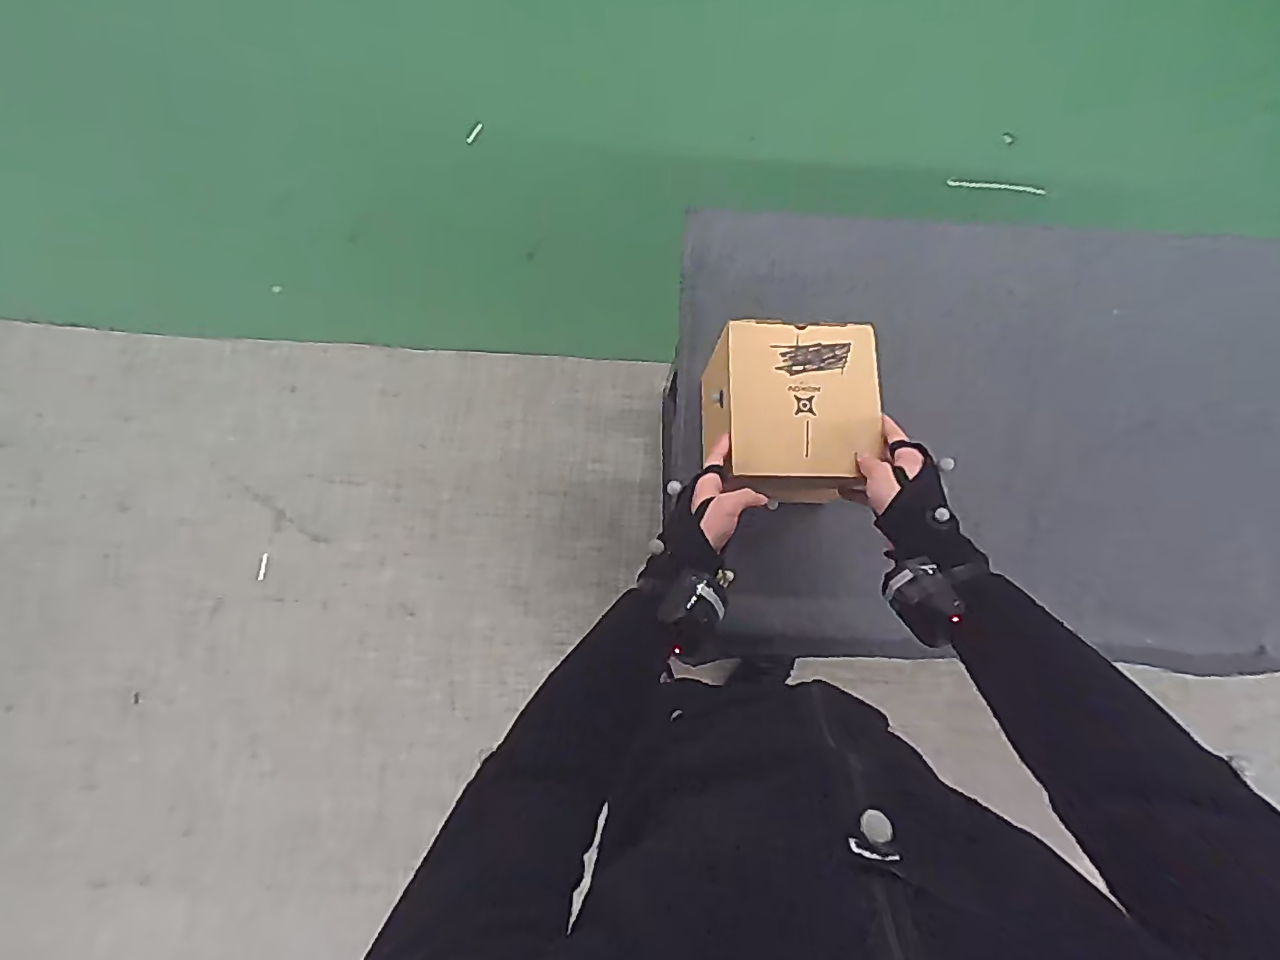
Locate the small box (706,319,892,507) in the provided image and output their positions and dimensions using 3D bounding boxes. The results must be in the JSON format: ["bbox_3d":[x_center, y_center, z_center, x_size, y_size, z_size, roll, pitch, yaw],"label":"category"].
[{"bbox_3d":[0.174,-0.070,0.646,0.168,0.176,0.179,1,78,-3],"label":"small box"}]
